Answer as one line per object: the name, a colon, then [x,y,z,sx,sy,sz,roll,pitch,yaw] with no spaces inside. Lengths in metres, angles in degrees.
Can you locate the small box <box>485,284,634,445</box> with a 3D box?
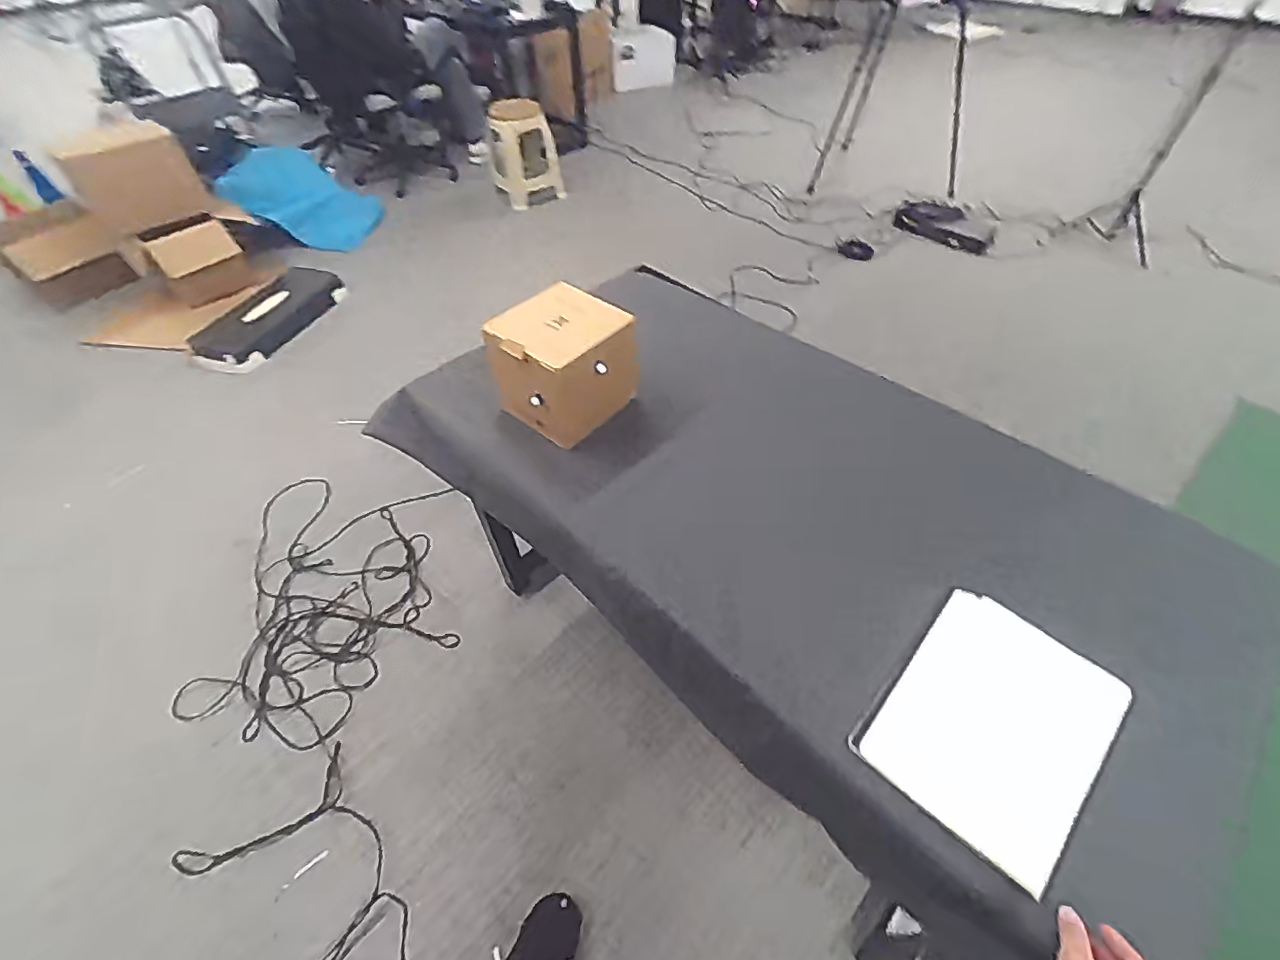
small box: [-0.121,-0.187,0.891,0.168,0.176,0.179,33,56,25]
